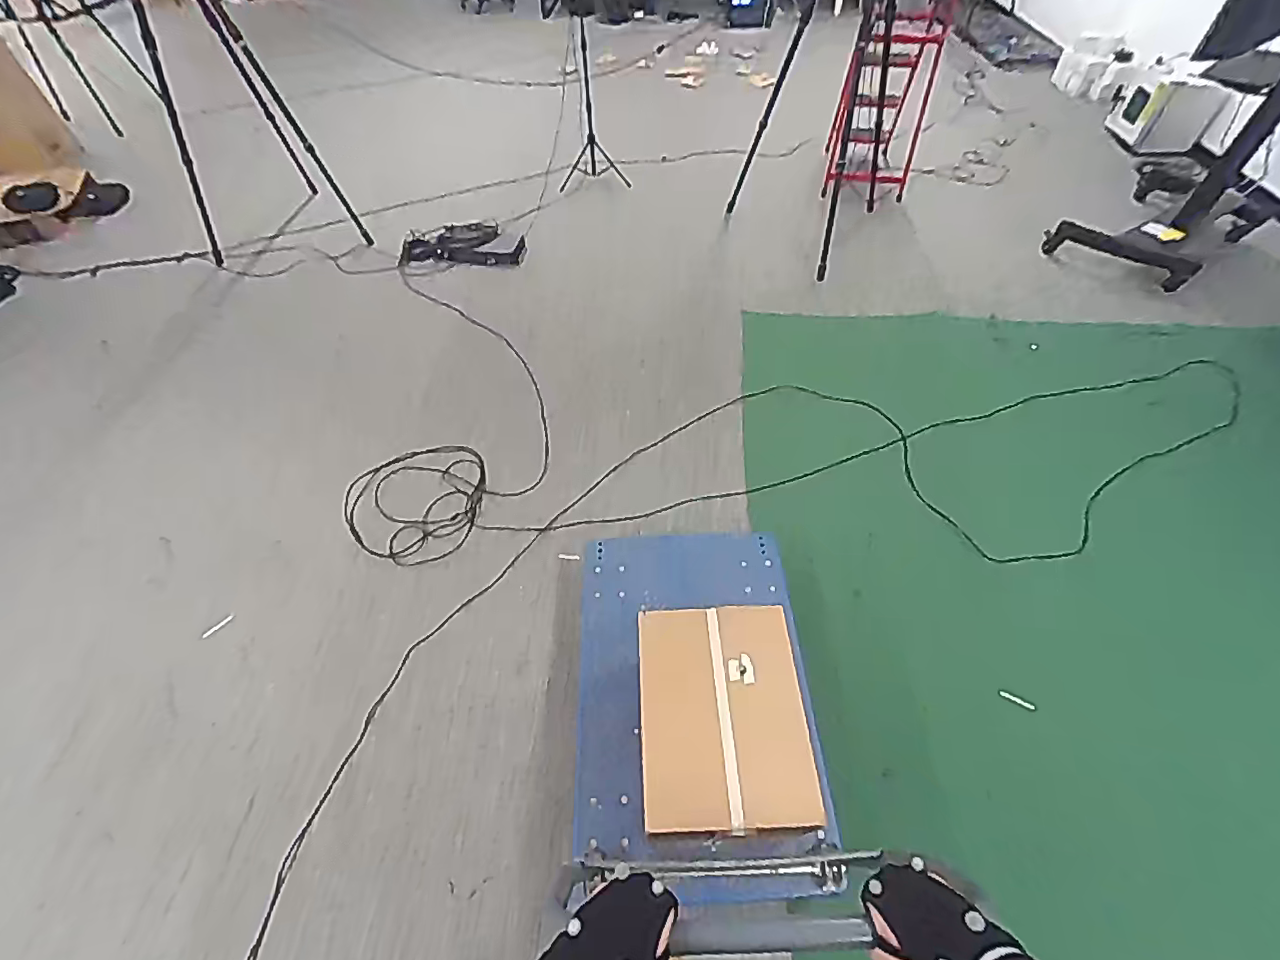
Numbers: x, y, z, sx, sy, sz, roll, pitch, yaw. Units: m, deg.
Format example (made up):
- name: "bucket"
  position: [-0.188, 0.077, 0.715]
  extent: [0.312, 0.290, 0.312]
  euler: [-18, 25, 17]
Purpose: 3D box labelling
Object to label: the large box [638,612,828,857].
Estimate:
- name: "large box"
  position: [0.163, 0.540, 1.152]
  extent: [0.320, 0.320, 0.408]
  euler: [-2, 51, -1]
